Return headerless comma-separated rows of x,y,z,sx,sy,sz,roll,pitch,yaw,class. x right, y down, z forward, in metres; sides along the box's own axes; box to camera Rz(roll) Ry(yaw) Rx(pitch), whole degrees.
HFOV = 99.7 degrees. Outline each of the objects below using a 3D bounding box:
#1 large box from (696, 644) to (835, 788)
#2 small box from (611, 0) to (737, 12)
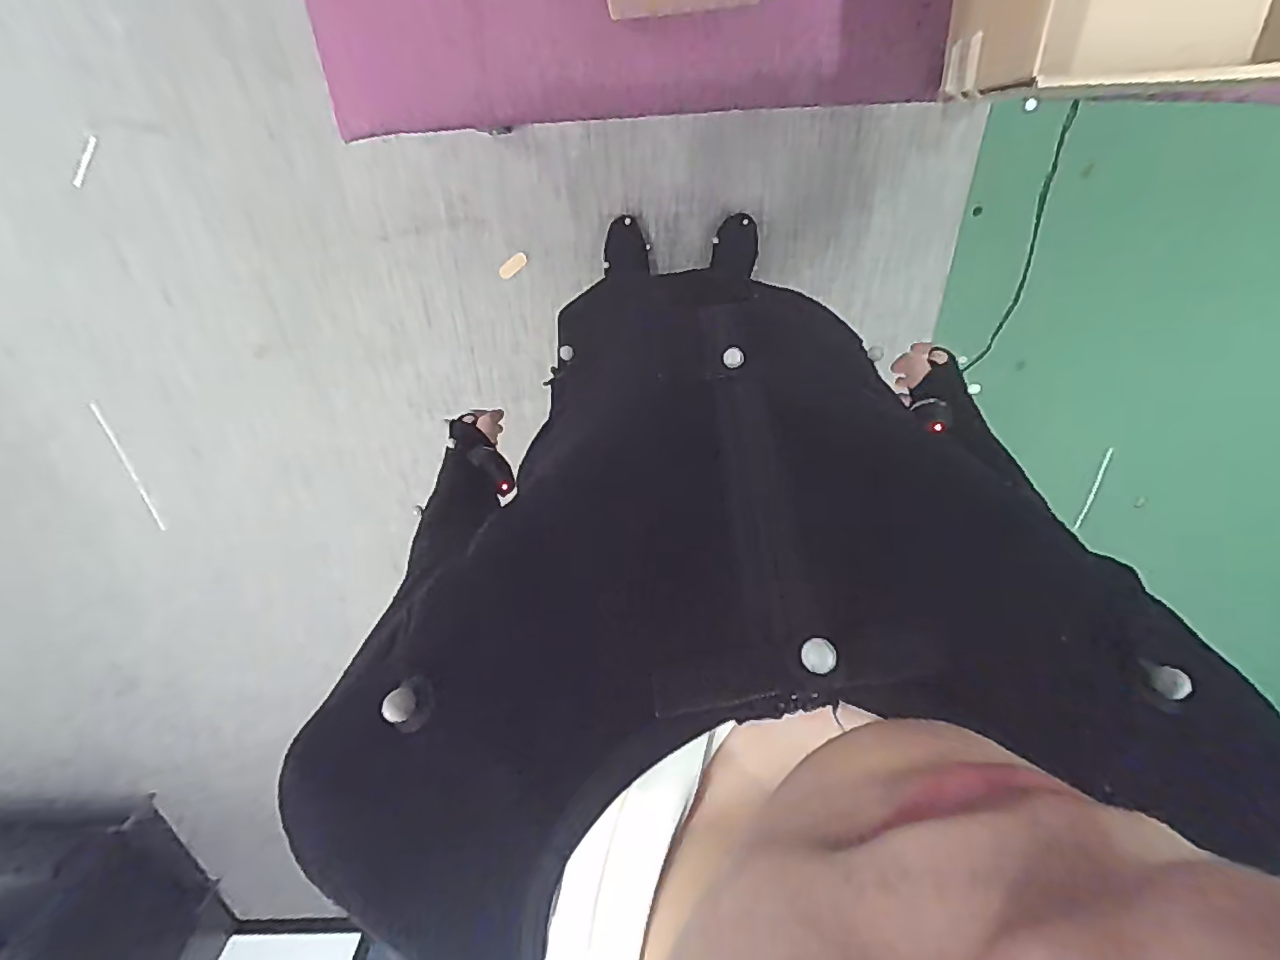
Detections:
0.477,0.922,2.123,0.408,0.320,0.320,-30,116,14,large box
0.044,-0.587,0.524,0.179,0.176,0.168,-5,118,2,small box
